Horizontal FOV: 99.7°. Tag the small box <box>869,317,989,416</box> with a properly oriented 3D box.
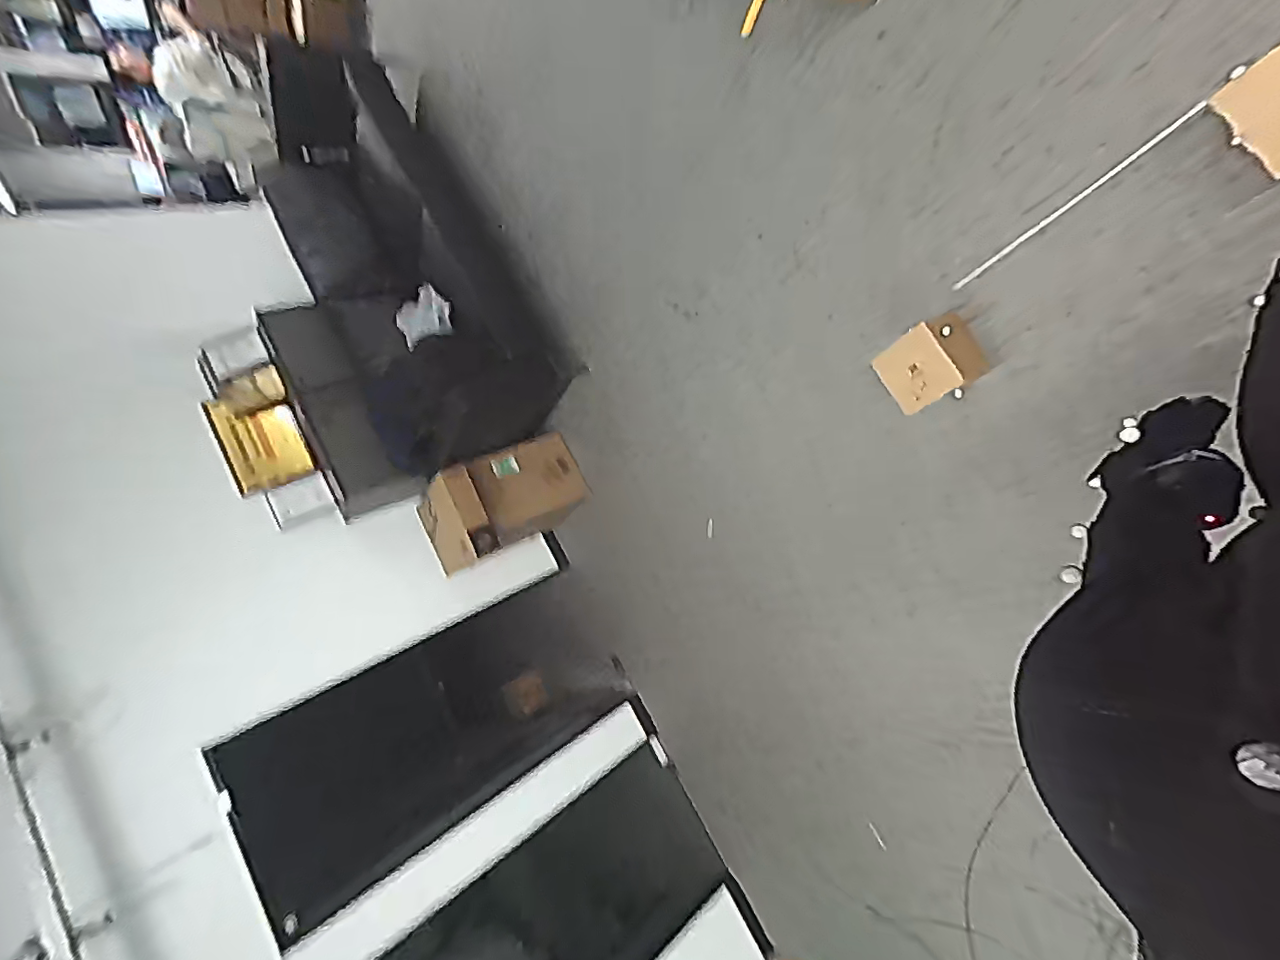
[{"bbox_3d":[0.723,-0.290,1.354,0.179,0.176,0.168,60,146,10],"label":"small box"}]

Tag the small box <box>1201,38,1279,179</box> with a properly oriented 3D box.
[{"bbox_3d":[1.004,-0.583,0.802,0.168,0.176,0.179,59,146,9],"label":"small box"}]
